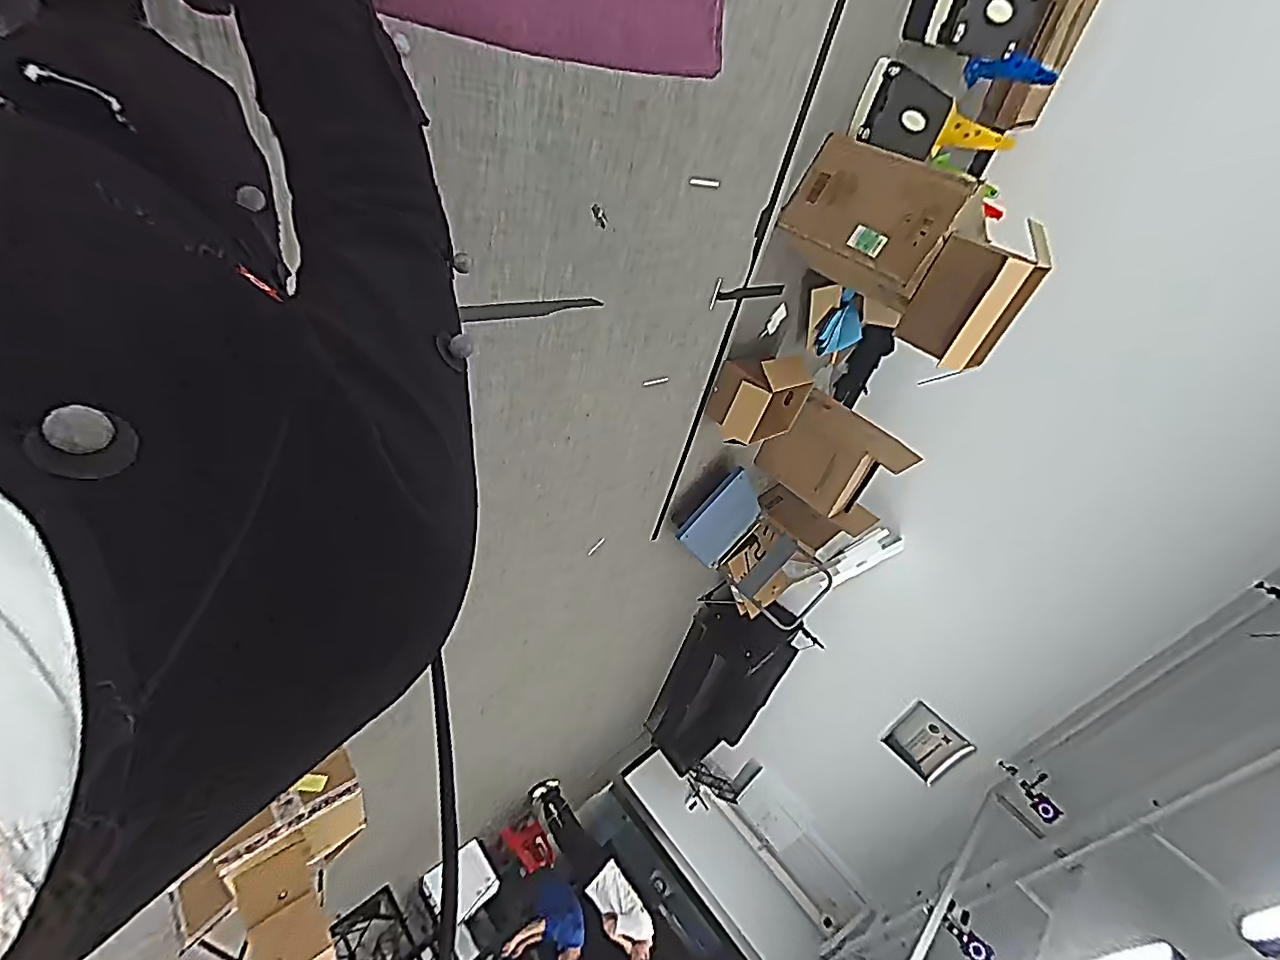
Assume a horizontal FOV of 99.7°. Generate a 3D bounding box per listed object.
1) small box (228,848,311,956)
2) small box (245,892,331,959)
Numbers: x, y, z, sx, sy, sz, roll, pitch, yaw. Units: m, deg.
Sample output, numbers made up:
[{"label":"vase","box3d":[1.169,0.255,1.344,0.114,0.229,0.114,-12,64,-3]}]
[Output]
[{"label":"small box","box3d":[-1.122,1.272,1.644,0.179,0.176,0.168,-13,134,-43]},{"label":"small box","box3d":[-1.007,1.345,1.547,0.179,0.176,0.168,-17,137,-41]}]
